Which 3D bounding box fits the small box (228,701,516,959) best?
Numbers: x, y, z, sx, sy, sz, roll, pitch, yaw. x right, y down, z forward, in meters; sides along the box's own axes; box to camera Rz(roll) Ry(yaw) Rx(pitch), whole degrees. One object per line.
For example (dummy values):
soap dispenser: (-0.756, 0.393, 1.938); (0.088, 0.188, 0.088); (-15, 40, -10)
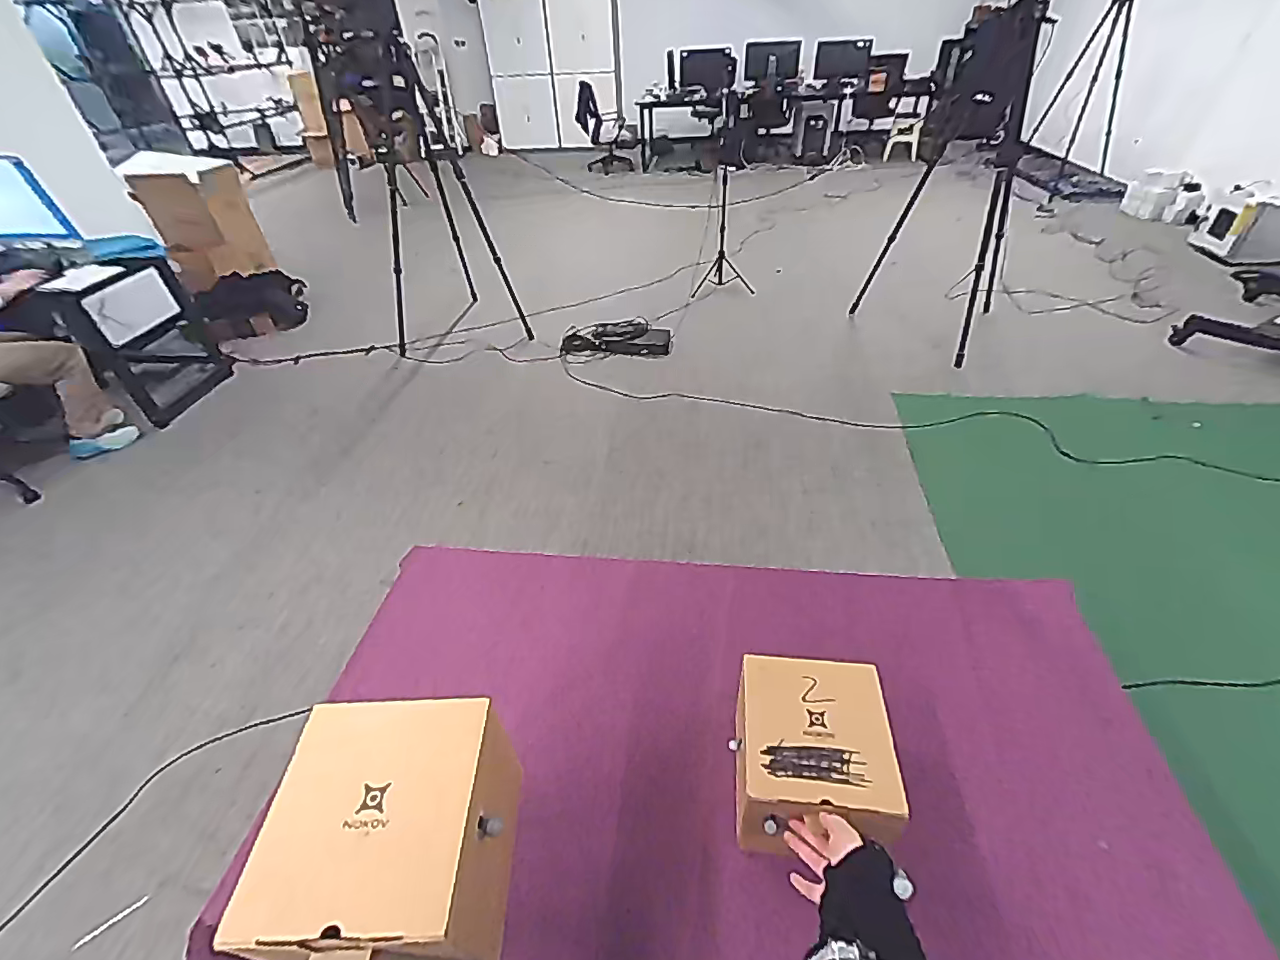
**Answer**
small box: (-0.220, 0.331, 0.507); (0.168, 0.176, 0.179); (-2, 43, 0)
